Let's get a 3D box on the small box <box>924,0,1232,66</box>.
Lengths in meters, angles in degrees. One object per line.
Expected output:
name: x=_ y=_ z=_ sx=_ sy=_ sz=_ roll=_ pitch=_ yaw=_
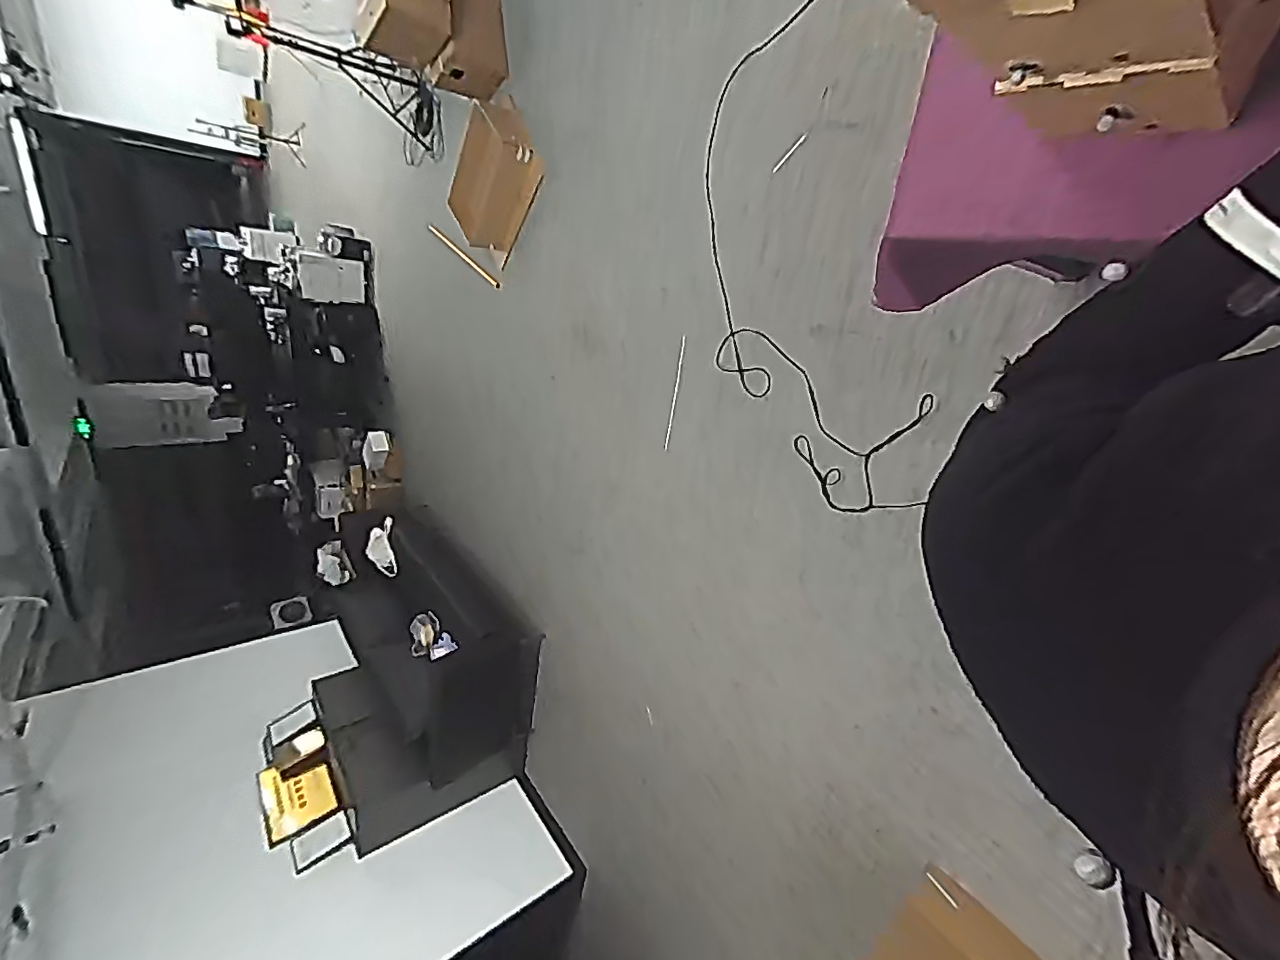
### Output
small box: x=0.350 y=-0.435 z=0.395 sx=0.168 sy=0.176 sz=0.179 roll=32 pitch=119 yaw=42

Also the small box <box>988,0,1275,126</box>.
small box: x=0.472 y=-0.450 z=0.506 sx=0.168 sy=0.176 sz=0.179 roll=31 pitch=120 yaw=42
